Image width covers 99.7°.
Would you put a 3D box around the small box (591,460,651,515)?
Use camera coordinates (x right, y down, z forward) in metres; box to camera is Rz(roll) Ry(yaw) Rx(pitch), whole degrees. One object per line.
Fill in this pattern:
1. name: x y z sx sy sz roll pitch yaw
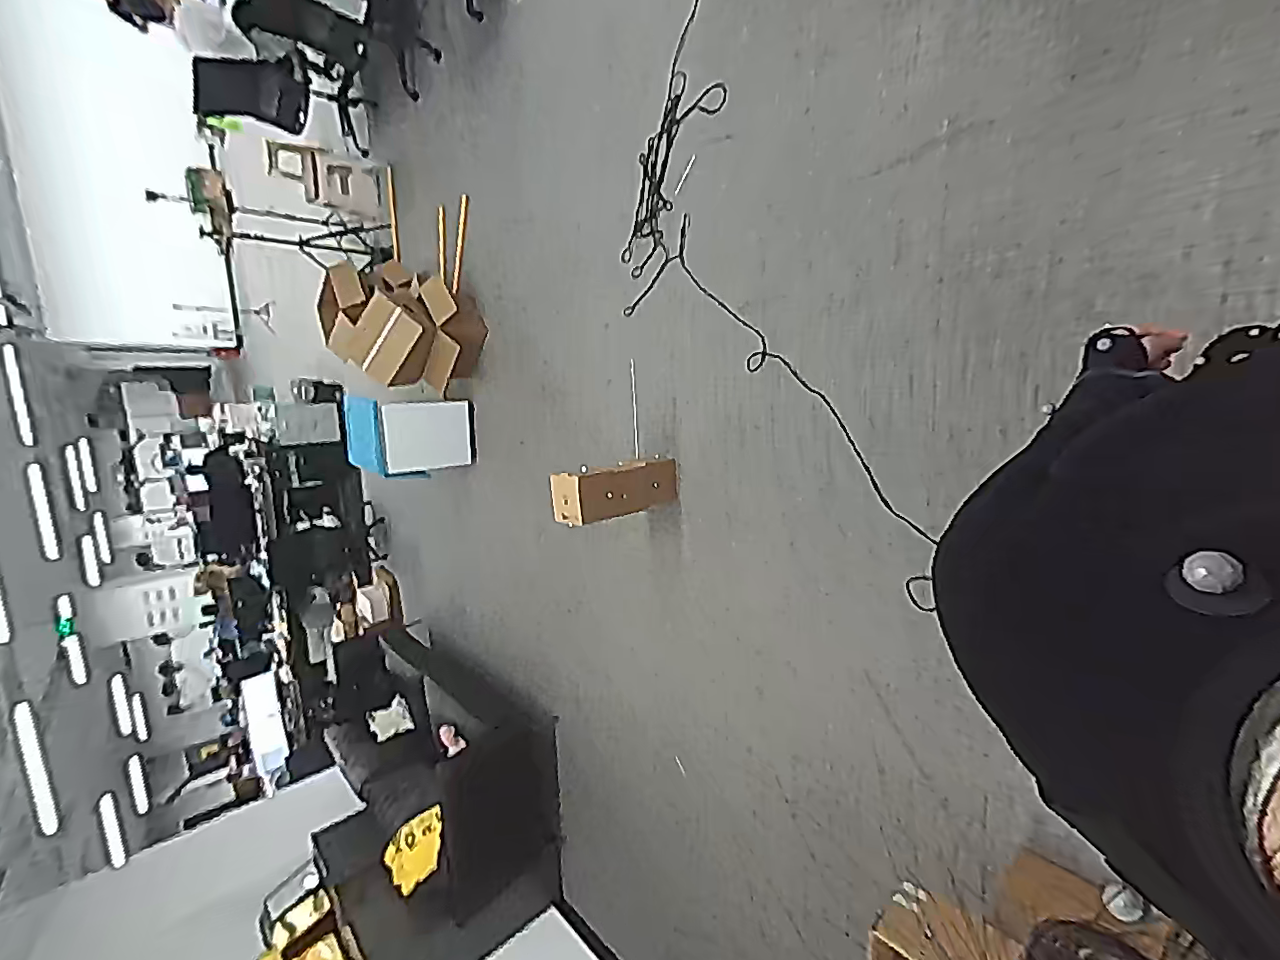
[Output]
1. small box: -0.070 0.024 2.075 0.168 0.176 0.179 7 103 47

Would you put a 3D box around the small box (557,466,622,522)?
1. small box: -0.181 0.044 1.955 0.168 0.176 0.179 5 101 48

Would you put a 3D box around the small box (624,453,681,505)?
1. small box: 0.052 -0.009 2.180 0.168 0.176 0.179 7 103 47
